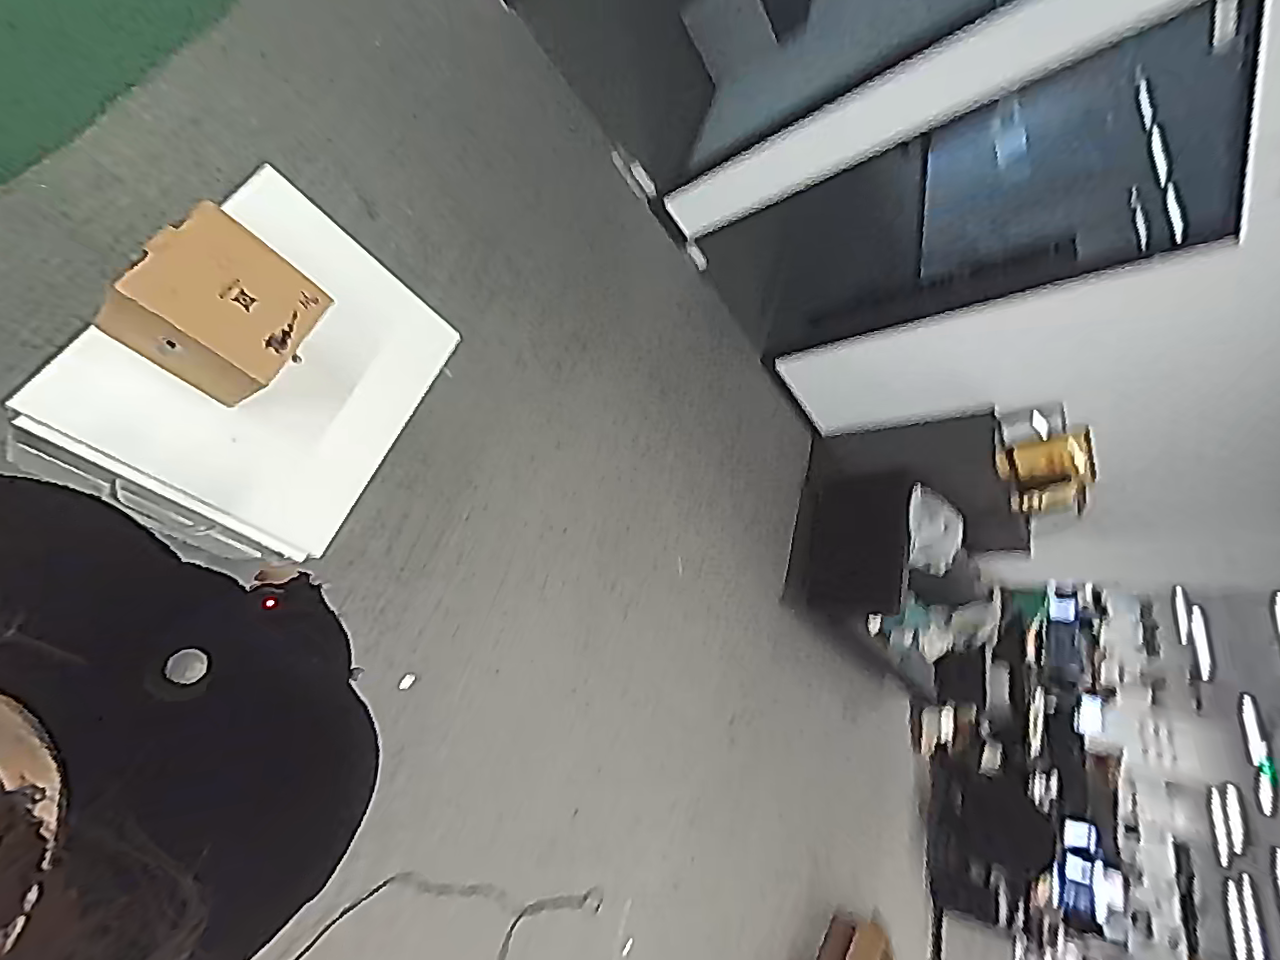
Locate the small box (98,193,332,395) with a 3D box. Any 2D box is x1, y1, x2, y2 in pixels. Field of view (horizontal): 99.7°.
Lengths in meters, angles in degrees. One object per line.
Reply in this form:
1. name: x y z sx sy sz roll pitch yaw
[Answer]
1. small box: -0.572 -0.235 0.731 0.179 0.176 0.168 44 55 -38
